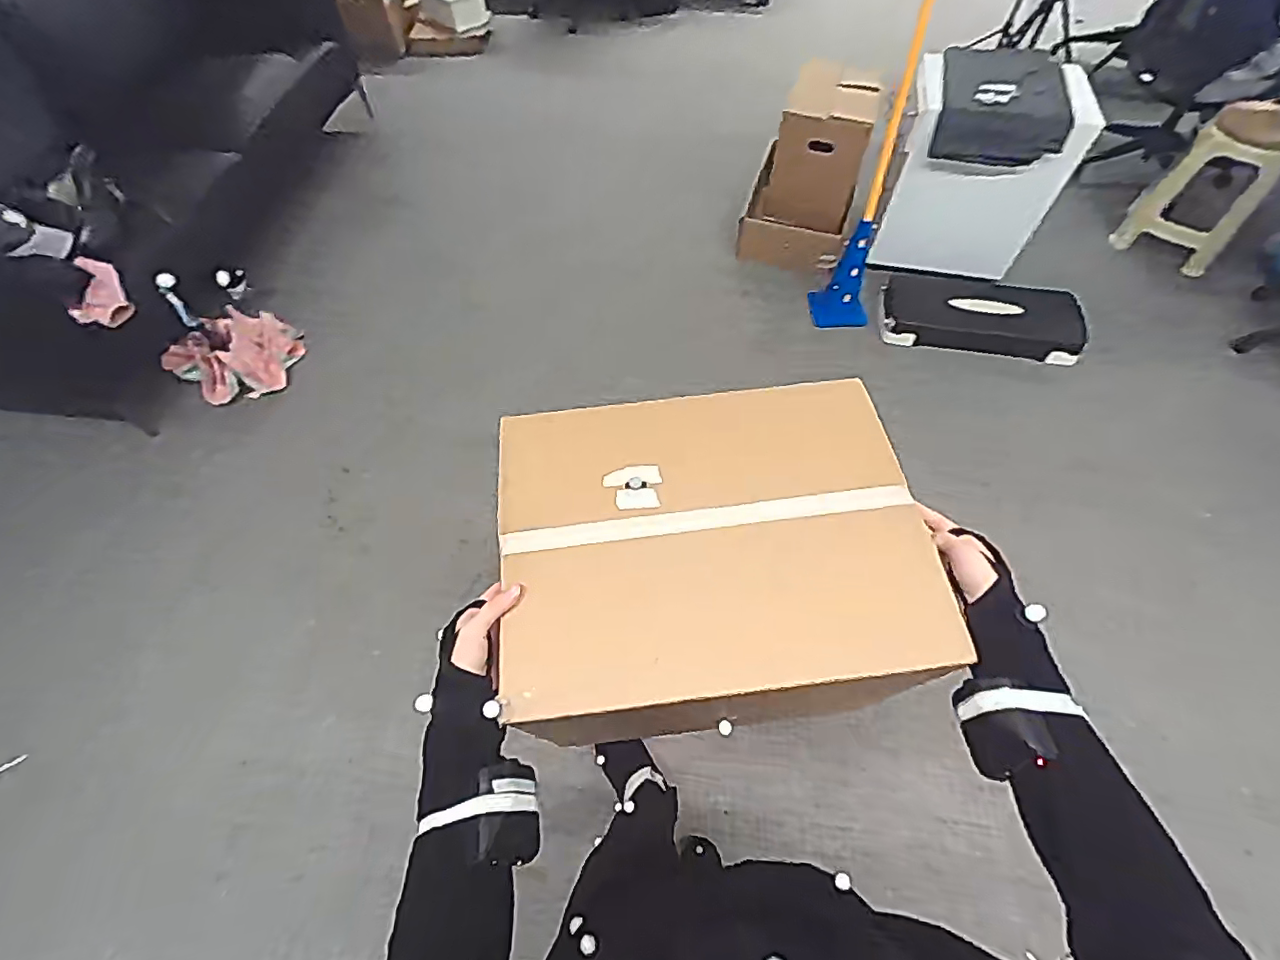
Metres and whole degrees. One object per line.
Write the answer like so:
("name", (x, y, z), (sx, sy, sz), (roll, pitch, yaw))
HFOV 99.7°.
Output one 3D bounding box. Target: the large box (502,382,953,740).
("large box", (0.071, 0.119, 0.671), (0.408, 0.320, 0.320), (-8, 60, -1))
